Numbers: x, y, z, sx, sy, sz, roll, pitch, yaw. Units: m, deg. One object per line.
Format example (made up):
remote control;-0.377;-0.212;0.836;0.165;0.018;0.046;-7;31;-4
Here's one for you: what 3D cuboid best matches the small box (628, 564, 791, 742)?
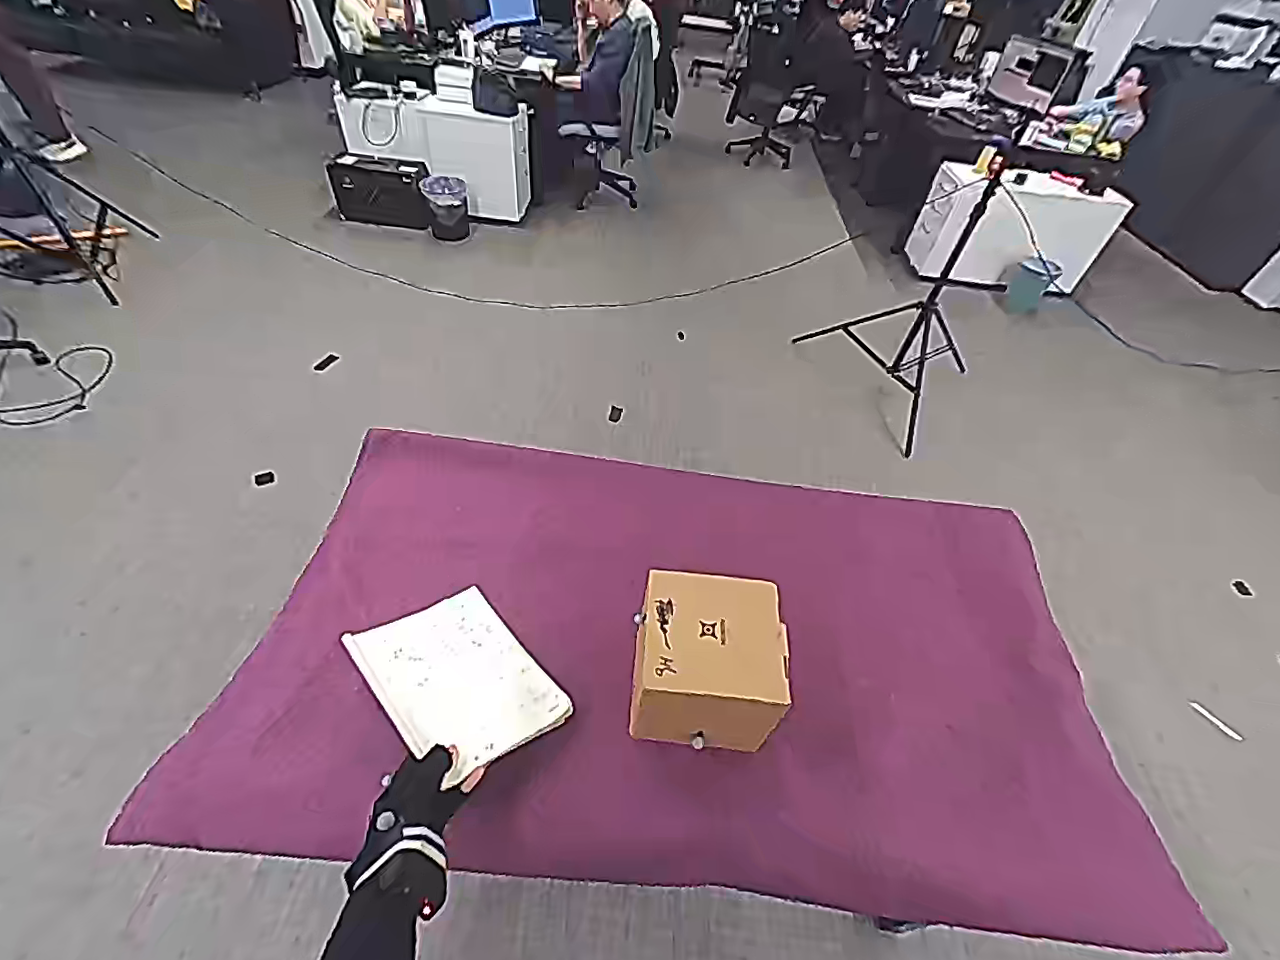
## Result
small box;0.085;0.237;0.728;0.179;0.176;0.168;7;45;-1
